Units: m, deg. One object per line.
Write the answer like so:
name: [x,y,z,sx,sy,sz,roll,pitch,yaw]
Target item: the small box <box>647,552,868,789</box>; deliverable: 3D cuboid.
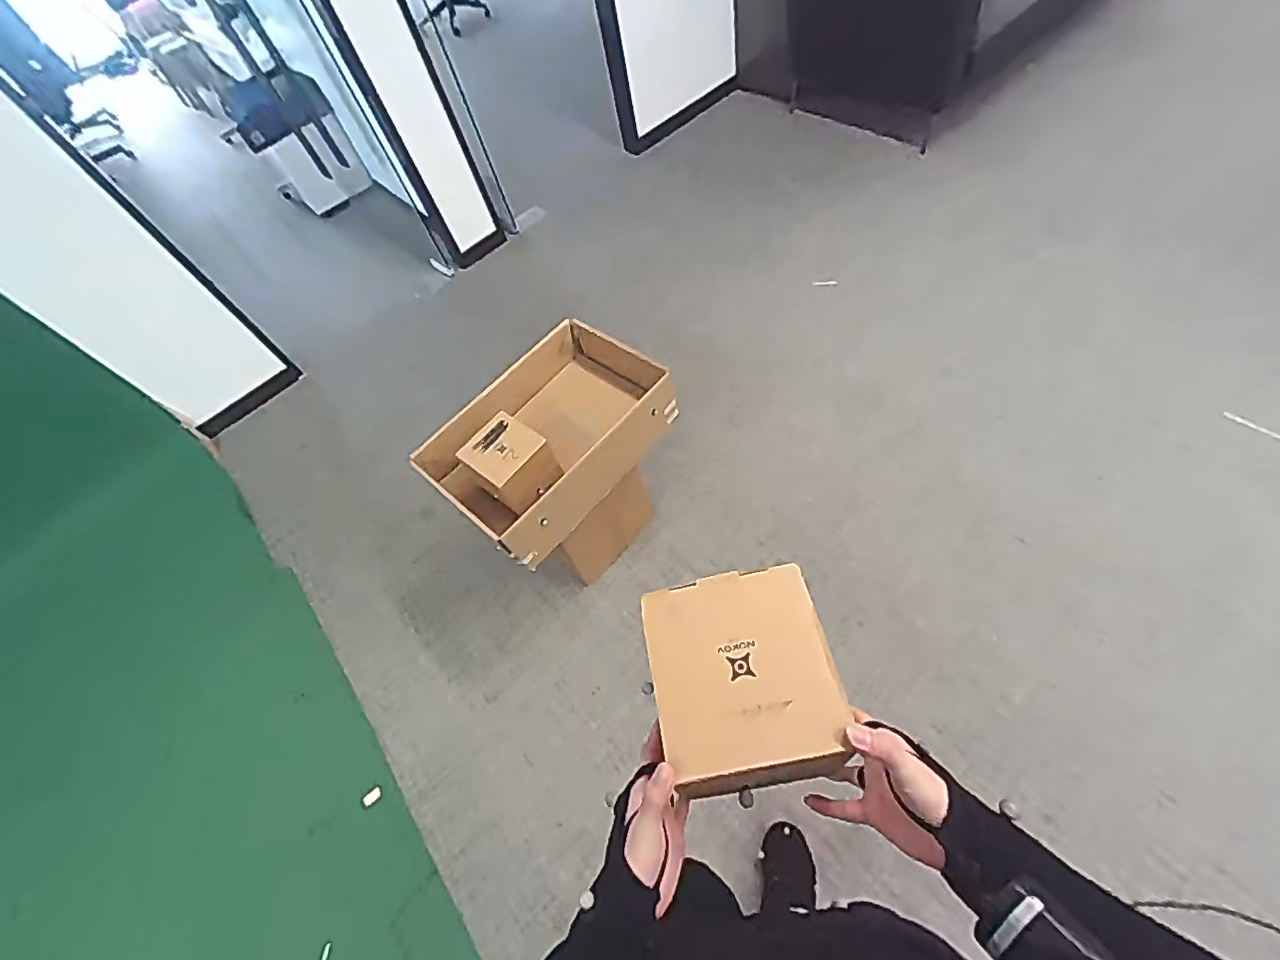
small box: [0.107,0.199,0.555,0.168,0.176,0.179,-11,55,3]
